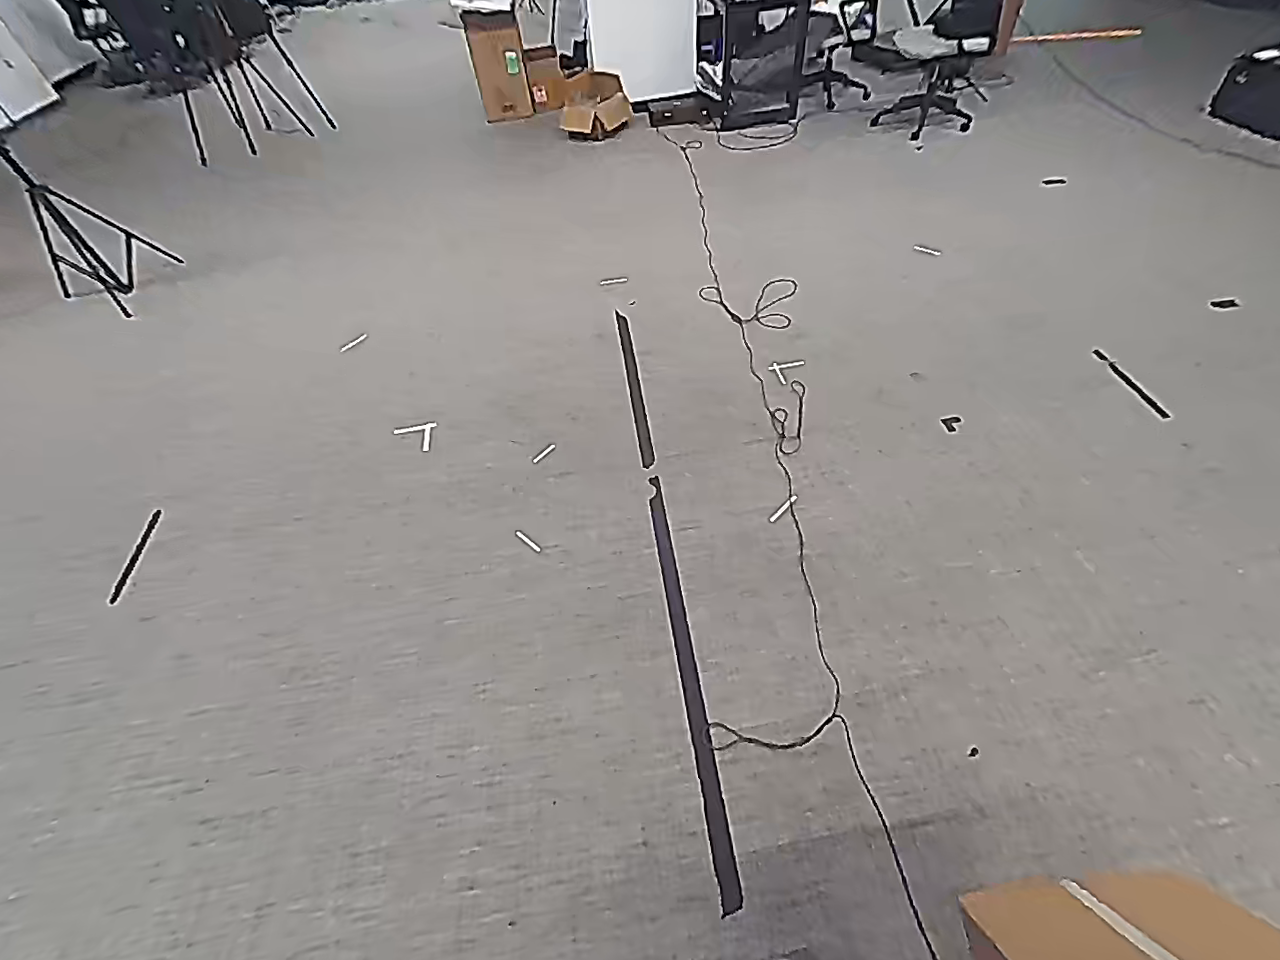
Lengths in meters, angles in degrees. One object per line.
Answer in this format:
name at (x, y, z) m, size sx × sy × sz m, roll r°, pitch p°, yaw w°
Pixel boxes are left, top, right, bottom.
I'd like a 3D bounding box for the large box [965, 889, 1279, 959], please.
large box at (0.627, 0.711, 0.560) m, size 0.320 × 0.408 × 0.320 m, roll -11°, pitch 76°, yaw 4°
